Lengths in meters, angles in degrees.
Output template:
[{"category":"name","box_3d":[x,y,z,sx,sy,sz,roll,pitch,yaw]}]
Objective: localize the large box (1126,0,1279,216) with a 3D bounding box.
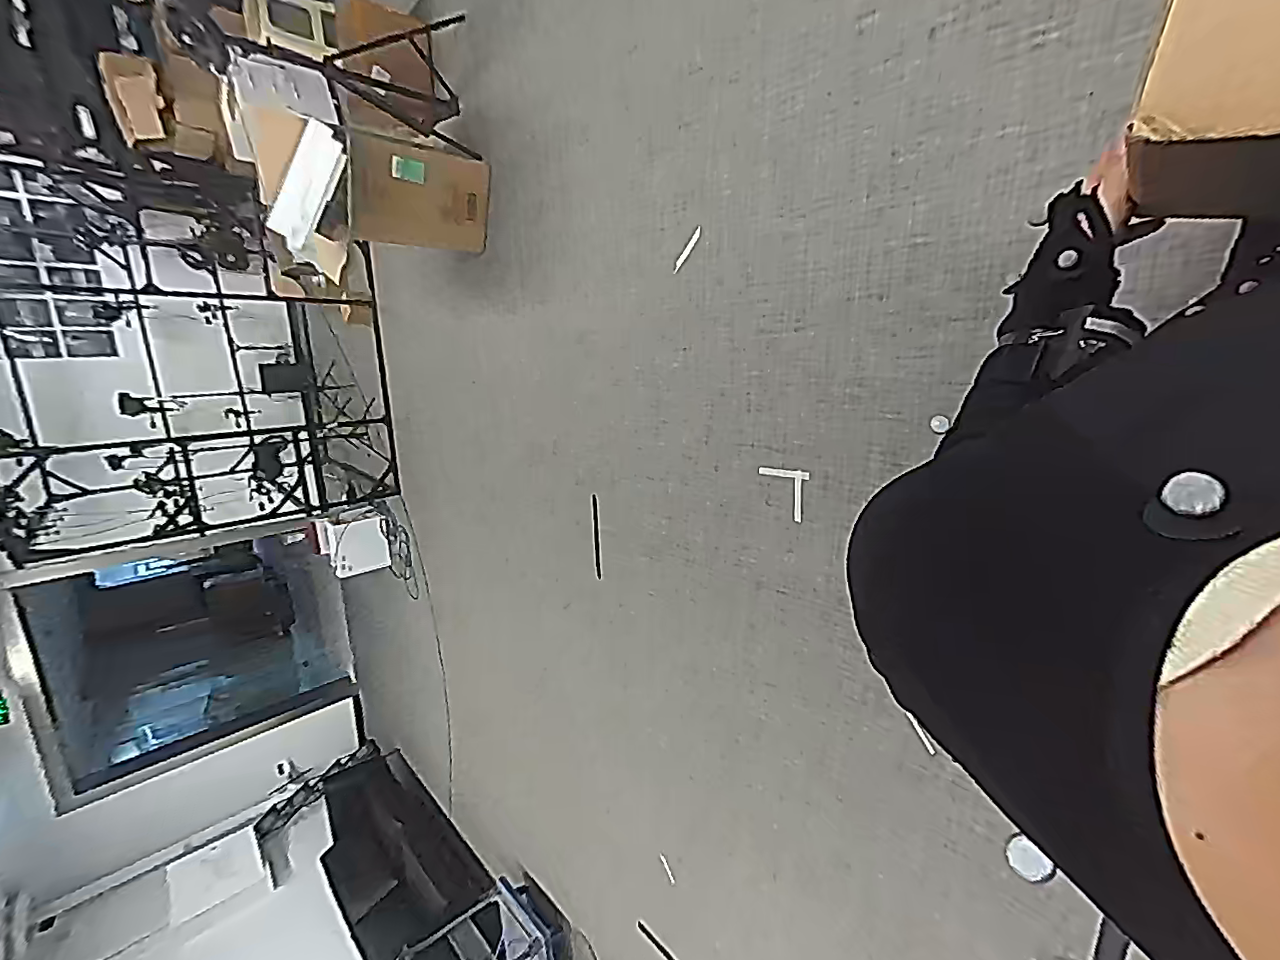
[{"category":"large box","box_3d":[0.476,-0.282,0.185,0.408,0.320,0.320,20,117,36]}]
